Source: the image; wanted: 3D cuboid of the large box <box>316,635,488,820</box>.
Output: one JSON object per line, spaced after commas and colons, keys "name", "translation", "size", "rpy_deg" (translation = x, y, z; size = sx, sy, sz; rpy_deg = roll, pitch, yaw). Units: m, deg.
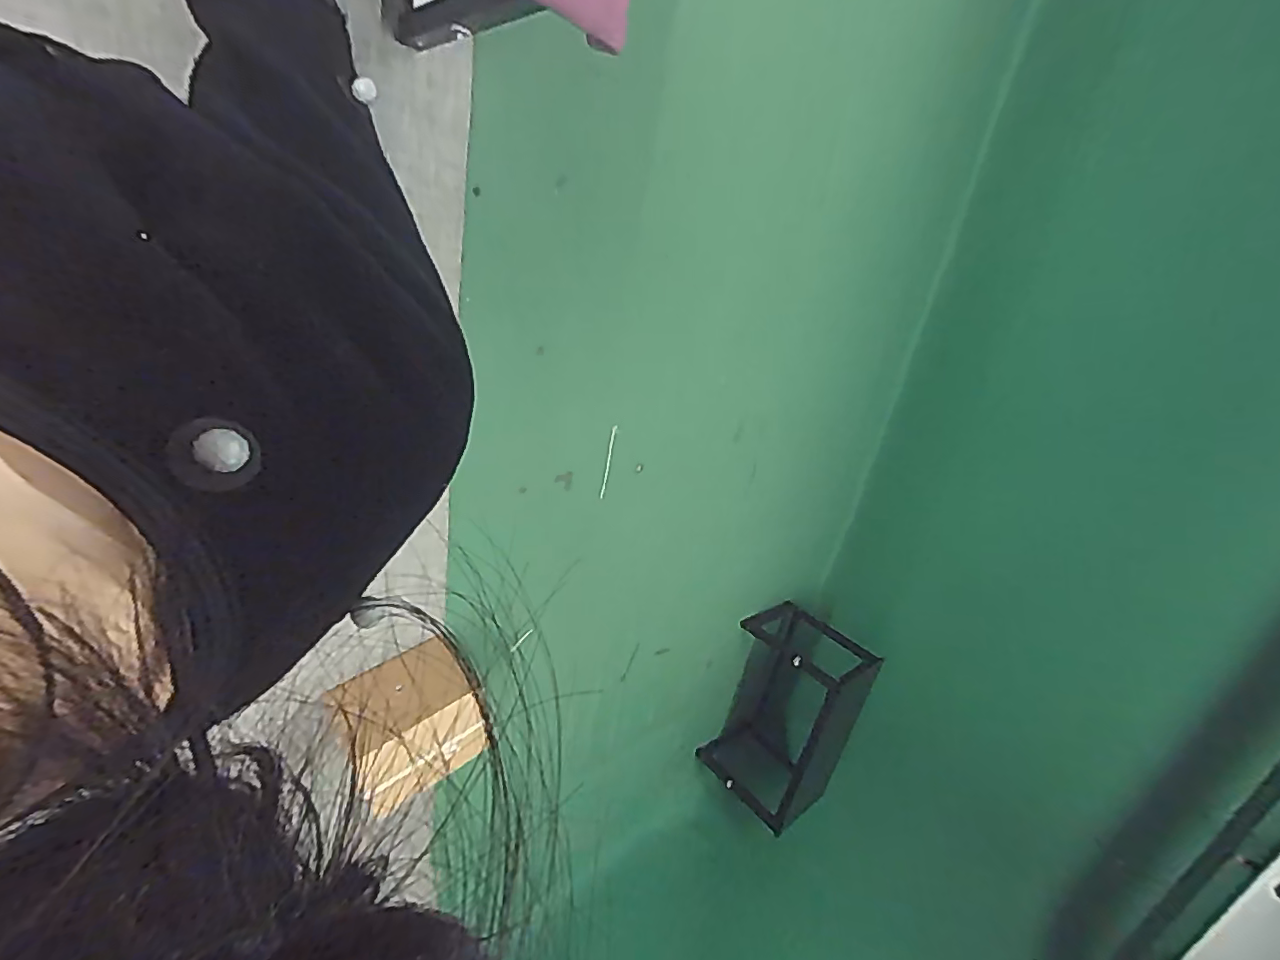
{"name": "large box", "translation": [-0.781, 0.803, 1.803], "size": [0.408, 0.320, 0.320], "rpy_deg": [-25, 130, -35]}
